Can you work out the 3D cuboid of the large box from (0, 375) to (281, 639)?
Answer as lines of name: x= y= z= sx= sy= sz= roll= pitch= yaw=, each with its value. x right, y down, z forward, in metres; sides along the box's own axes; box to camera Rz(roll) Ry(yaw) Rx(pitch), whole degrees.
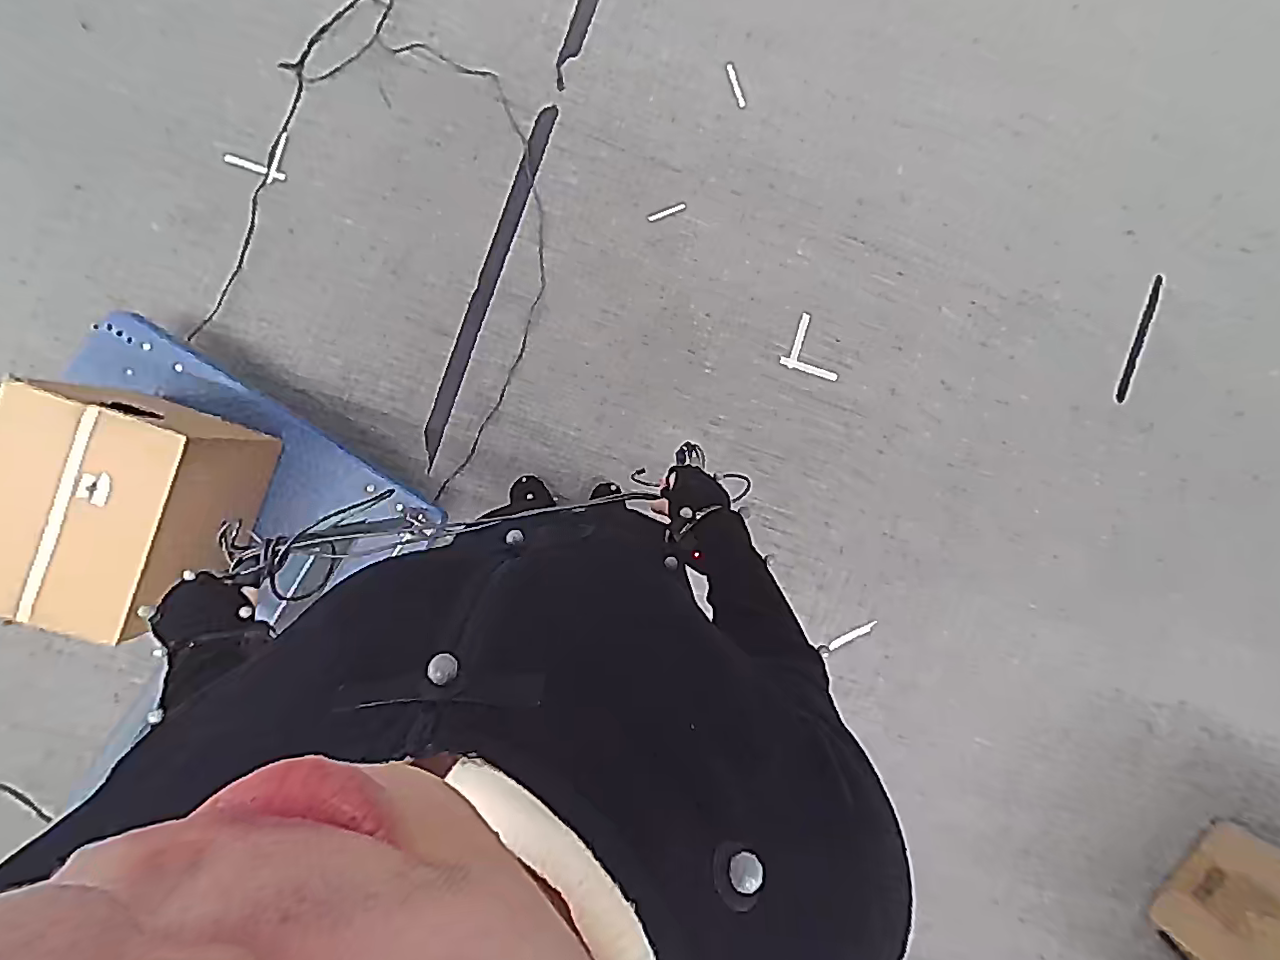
large box: x=-1.022 y=0.049 z=1.098 sx=0.320 sy=0.320 sz=0.408 roll=19 pitch=90 yaw=-6
